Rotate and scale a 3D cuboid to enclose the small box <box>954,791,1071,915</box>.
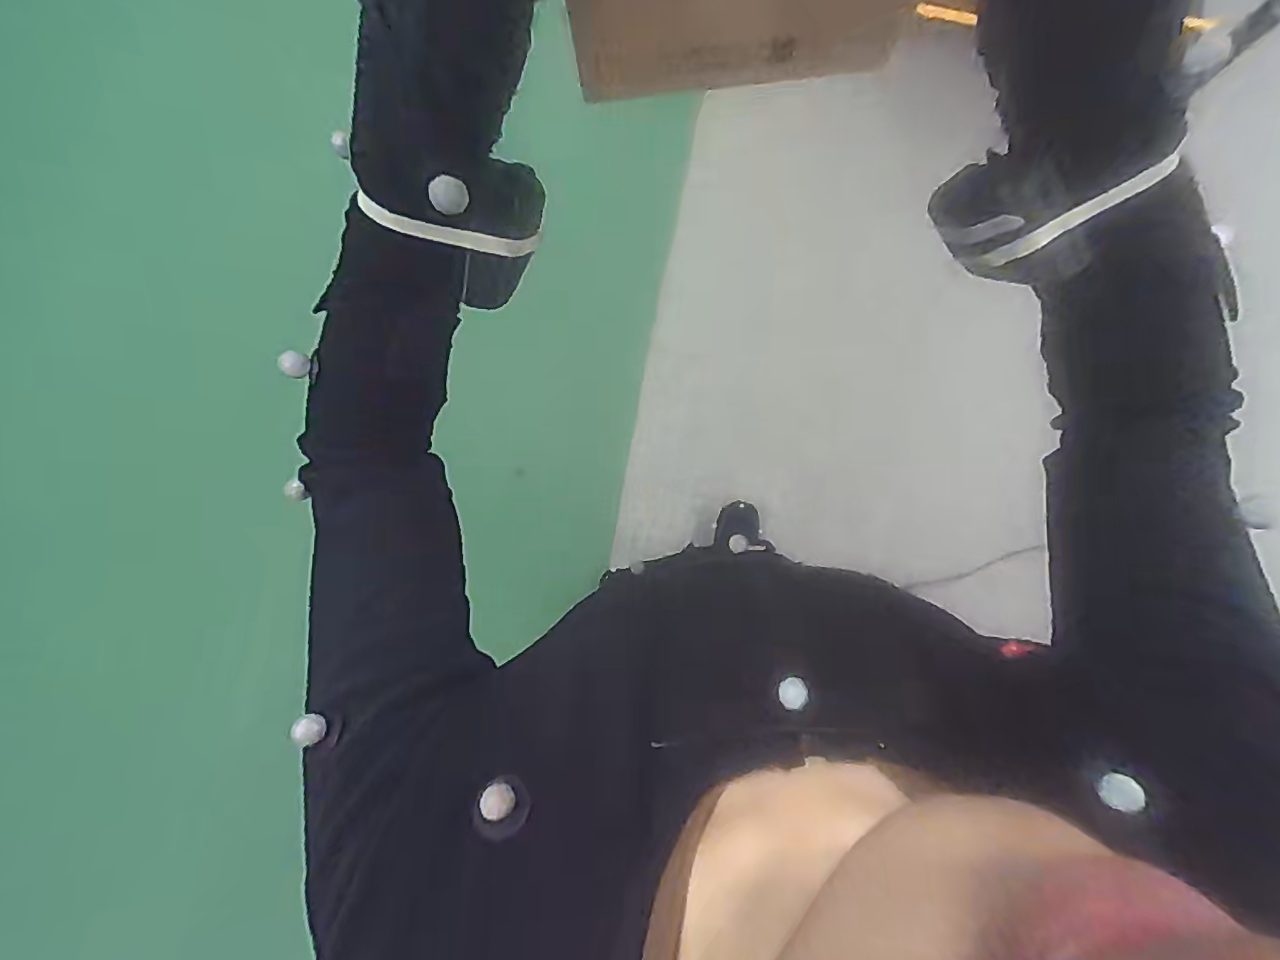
[{"bbox_3d":[0.889,0.890,1.305,0.168,0.176,0.179,11,81,1],"label":"small box"}]
